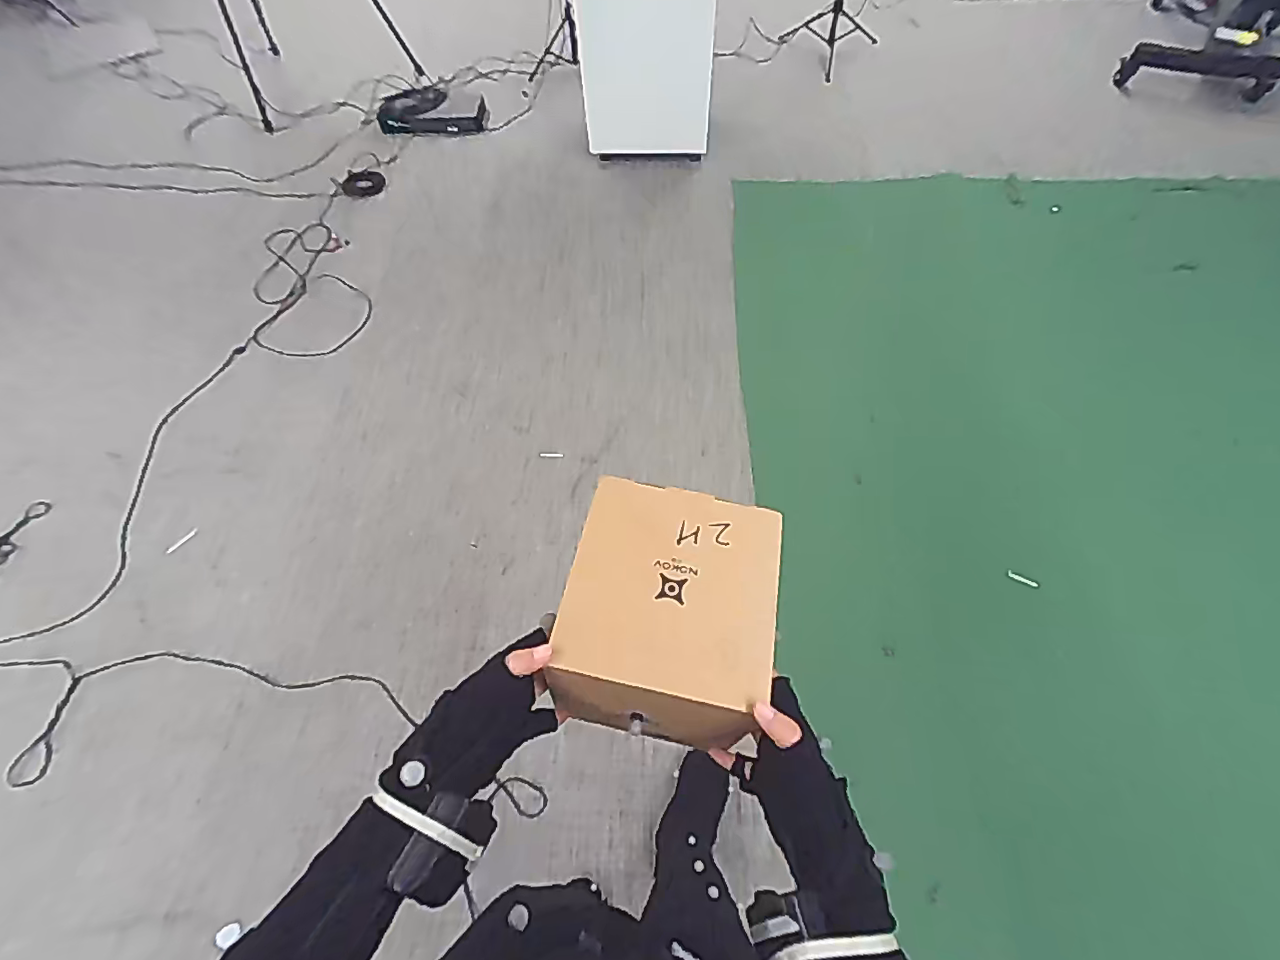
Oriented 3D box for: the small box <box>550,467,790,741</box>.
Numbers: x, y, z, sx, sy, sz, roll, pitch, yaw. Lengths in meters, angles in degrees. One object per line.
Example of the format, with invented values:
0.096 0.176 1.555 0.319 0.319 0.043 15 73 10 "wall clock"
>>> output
0.028 0.119 0.492 0.168 0.176 0.179 12 55 4 "small box"
